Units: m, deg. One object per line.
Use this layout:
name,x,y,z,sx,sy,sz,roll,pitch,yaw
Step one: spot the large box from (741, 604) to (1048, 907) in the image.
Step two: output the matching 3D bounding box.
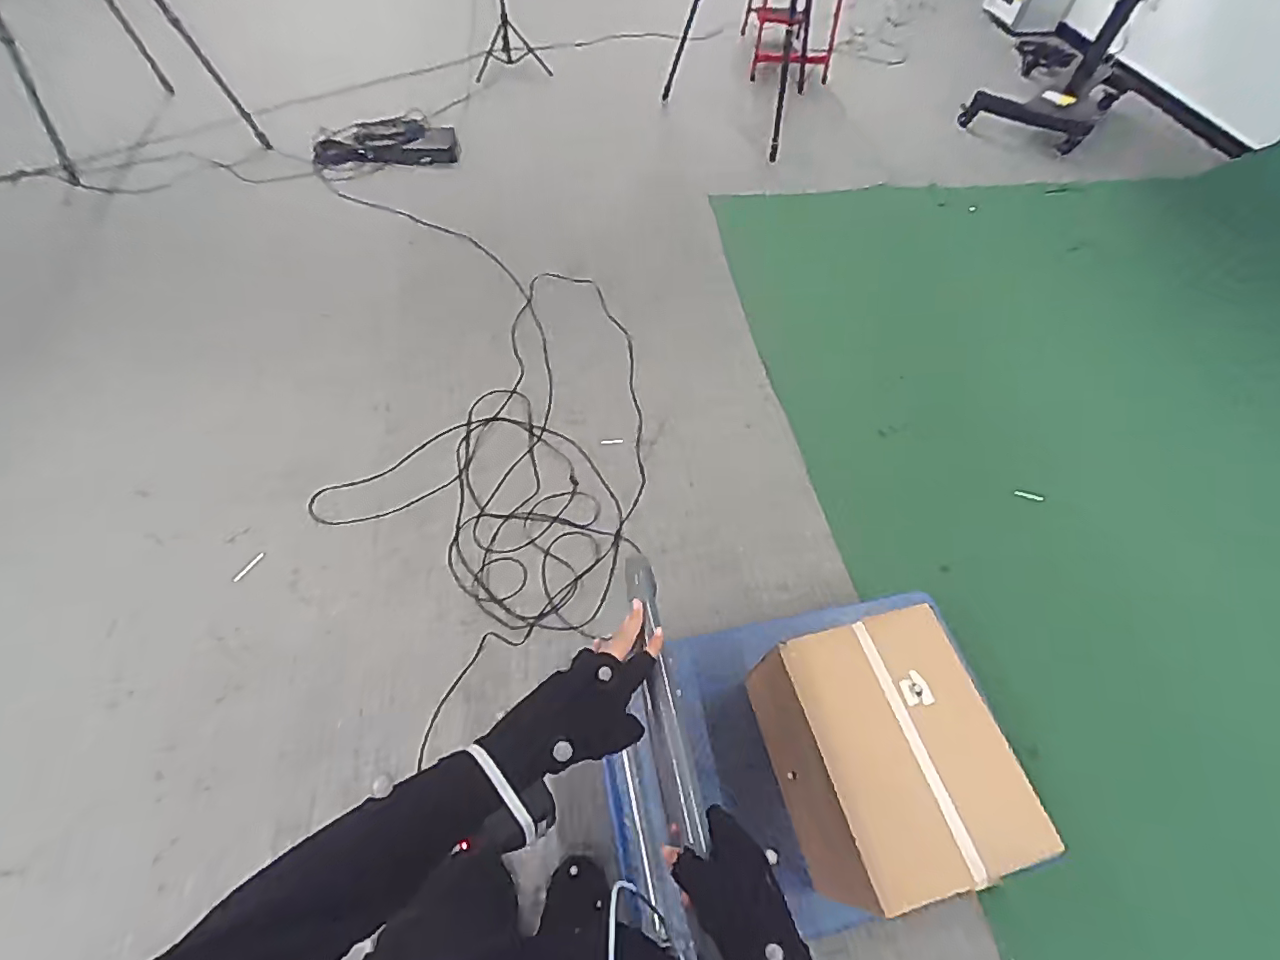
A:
large box,0.429,0.508,1.031,0.320,0.320,0.408,-11,58,-11
